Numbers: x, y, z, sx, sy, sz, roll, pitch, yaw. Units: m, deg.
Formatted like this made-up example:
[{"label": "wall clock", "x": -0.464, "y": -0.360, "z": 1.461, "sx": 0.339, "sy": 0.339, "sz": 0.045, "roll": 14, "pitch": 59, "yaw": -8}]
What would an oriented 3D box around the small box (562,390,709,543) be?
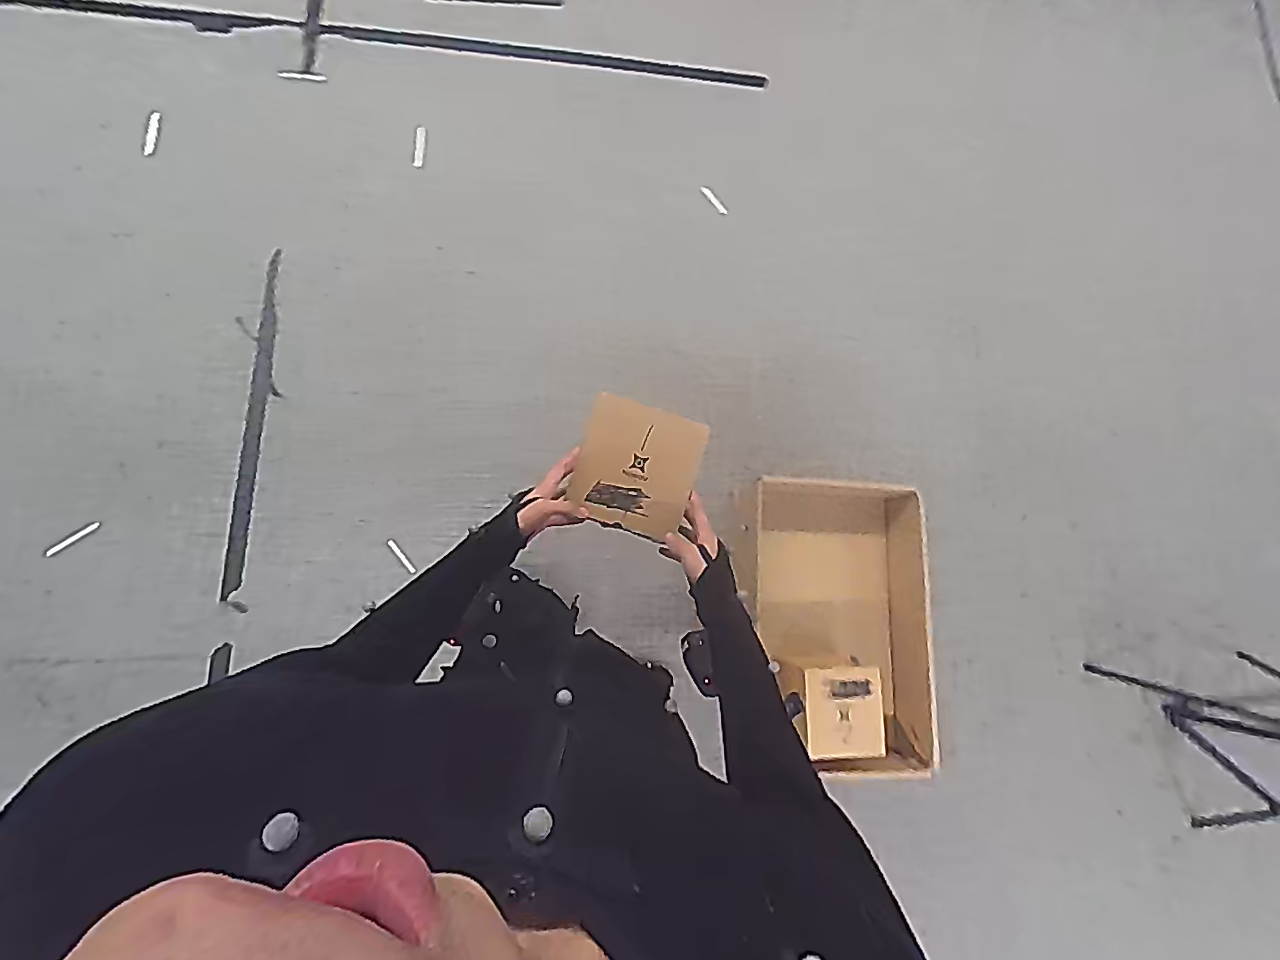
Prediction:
[{"label": "small box", "x": -0.007, "y": -0.020, "z": 0.826, "sx": 0.168, "sy": 0.176, "sz": 0.179, "roll": 18, "pitch": 90, "yaw": -2}]
